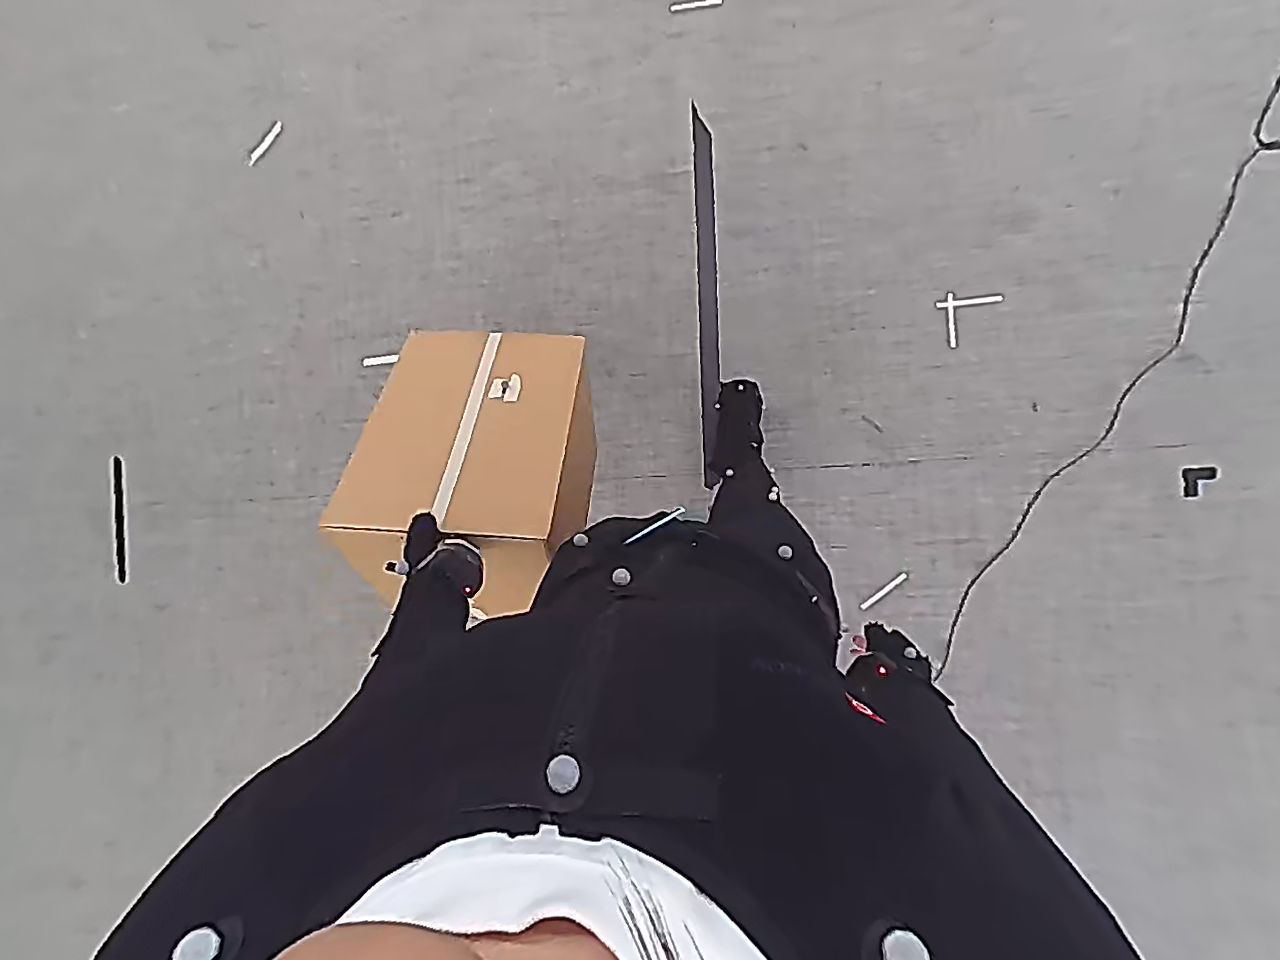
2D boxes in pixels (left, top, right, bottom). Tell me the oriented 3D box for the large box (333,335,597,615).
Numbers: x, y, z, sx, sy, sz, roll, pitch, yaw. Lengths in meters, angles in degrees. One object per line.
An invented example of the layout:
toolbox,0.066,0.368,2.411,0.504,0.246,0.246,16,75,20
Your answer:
large box,-0.261,-0.004,0.973,0.320,0.320,0.408,4,54,3
